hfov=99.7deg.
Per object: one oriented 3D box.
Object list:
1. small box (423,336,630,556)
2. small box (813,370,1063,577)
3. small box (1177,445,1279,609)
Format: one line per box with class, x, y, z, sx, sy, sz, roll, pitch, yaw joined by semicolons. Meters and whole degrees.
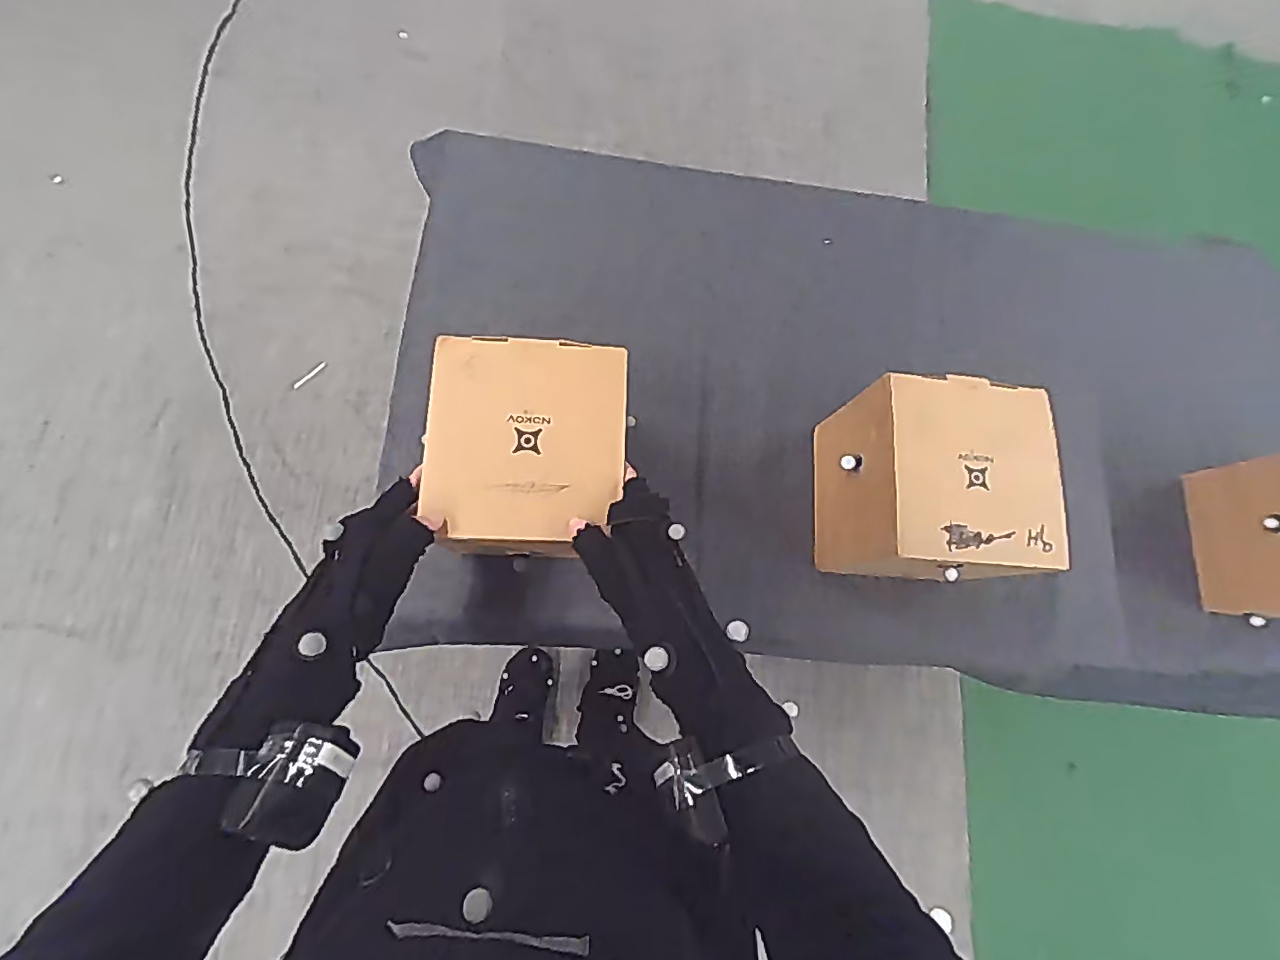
small box;-0.101;-0.021;0.535;0.168;0.176;0.179;2;78;-6
small box;0.296;0.005;0.578;0.168;0.176;0.179;4;76;-5
small box;0.782;0.059;0.617;0.168;0.176;0.179;5;75;-3
